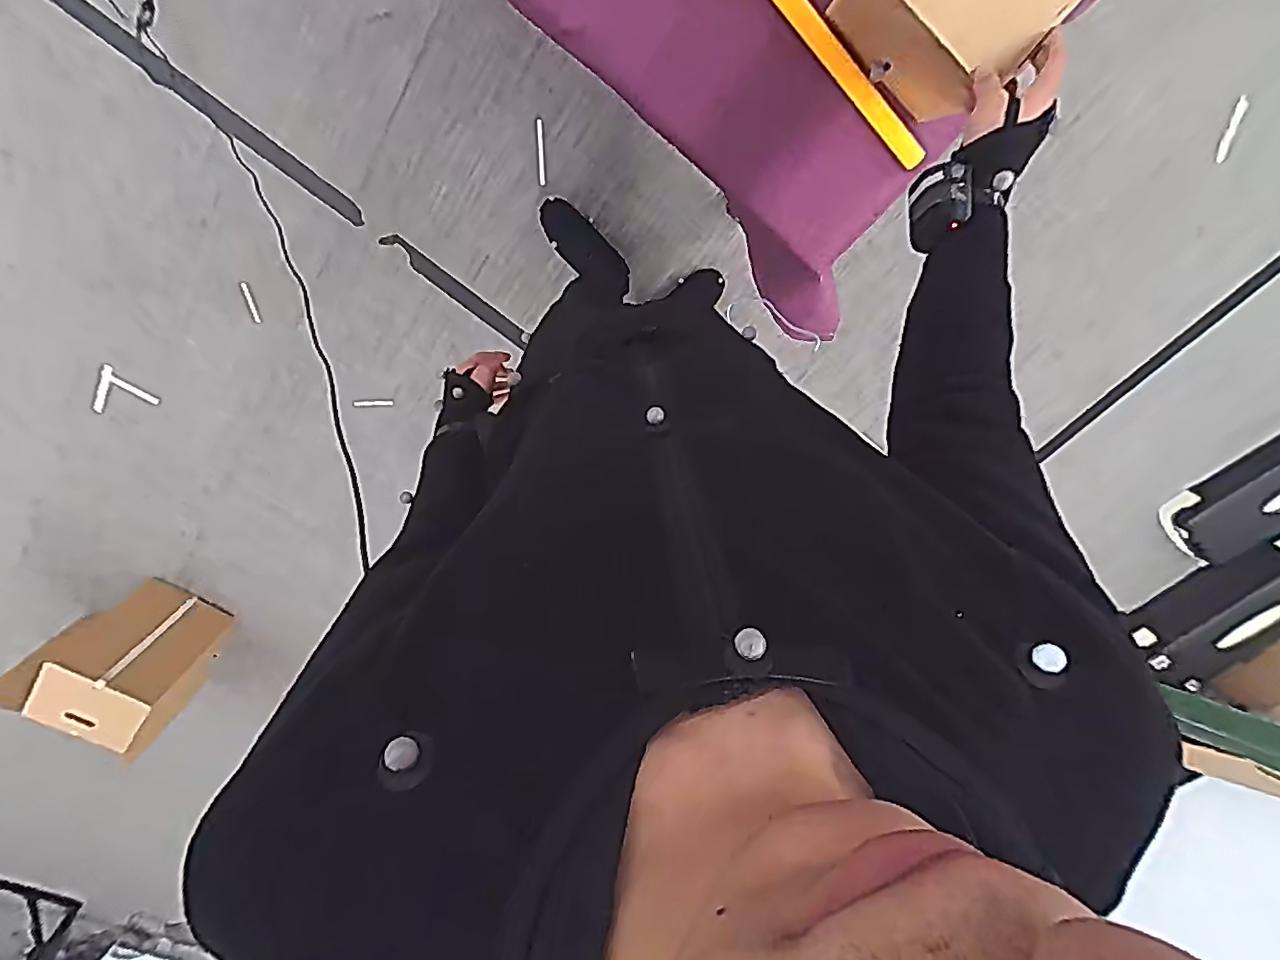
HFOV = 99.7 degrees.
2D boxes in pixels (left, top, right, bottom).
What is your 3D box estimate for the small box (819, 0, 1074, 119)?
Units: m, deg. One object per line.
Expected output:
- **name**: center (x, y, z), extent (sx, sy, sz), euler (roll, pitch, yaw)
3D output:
- **small box**: center (0.322, -0.514, 0.567), extent (0.179, 0.176, 0.168), euler (34, 114, -16)
